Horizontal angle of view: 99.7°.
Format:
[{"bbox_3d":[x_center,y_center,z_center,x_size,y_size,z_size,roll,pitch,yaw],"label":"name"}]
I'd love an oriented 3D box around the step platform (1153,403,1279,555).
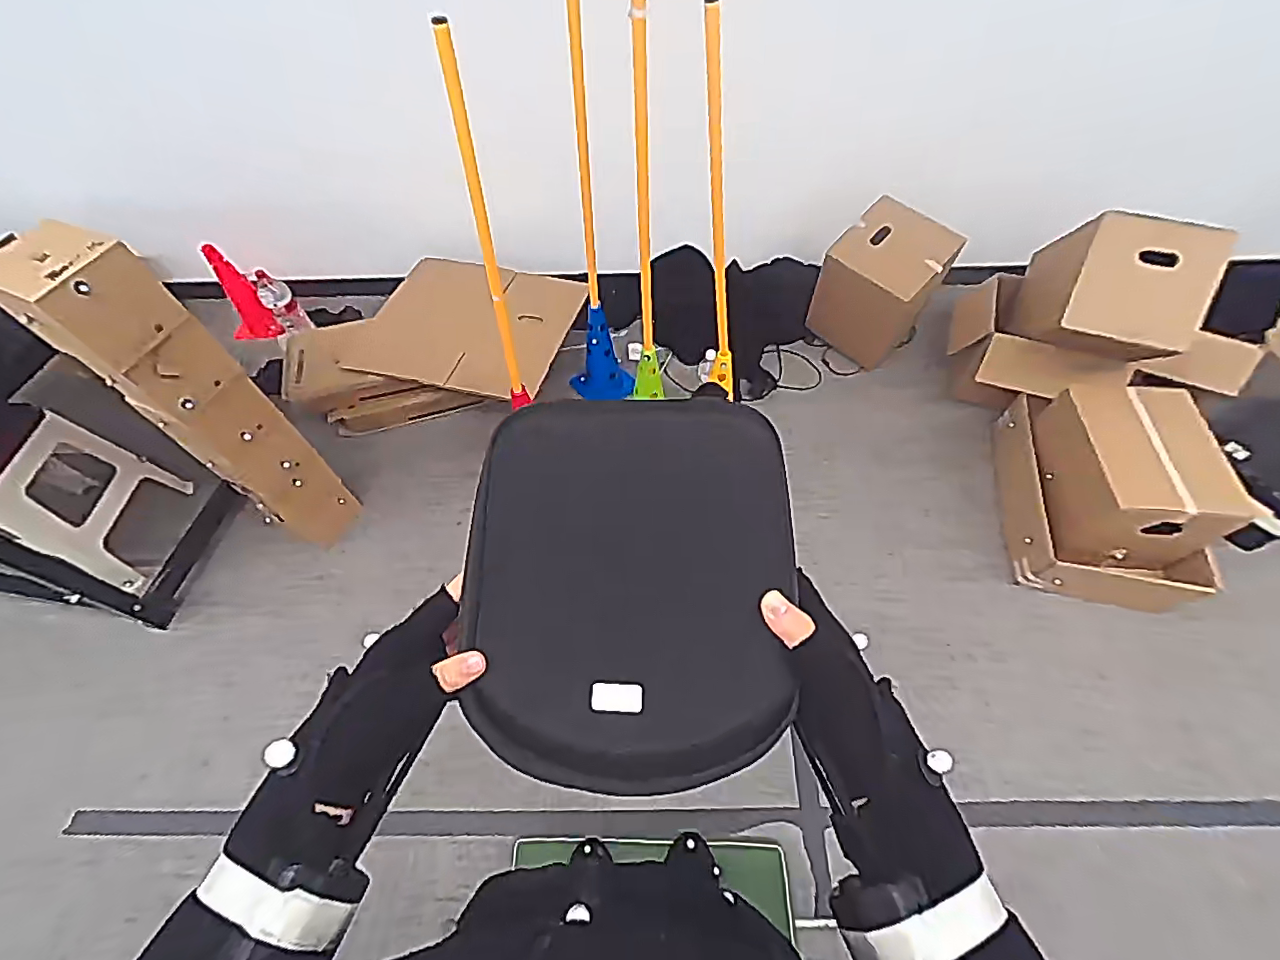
[{"bbox_3d":[1.974,-0.048,1.665,0.684,0.204,0.286,-26,60,-14],"label":"step platform"}]
